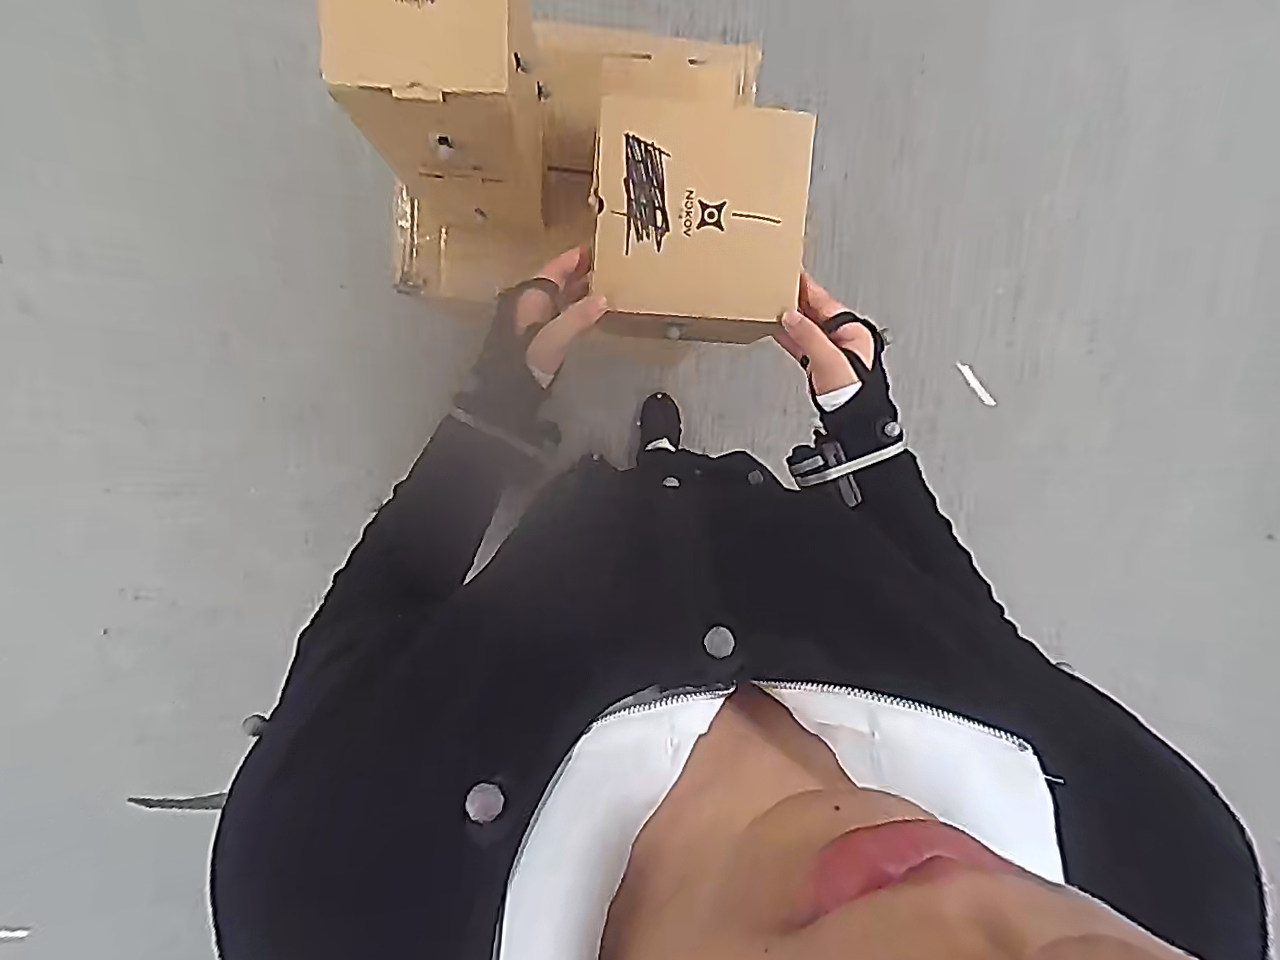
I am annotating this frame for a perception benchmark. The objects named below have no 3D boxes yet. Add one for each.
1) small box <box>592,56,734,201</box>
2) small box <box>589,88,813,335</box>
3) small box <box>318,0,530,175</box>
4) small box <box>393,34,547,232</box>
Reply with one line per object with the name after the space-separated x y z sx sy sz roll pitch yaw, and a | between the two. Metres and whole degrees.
0.025 -0.428 0.741 0.168 0.176 0.179 4 97 -1 | small box
0.045 -0.236 0.519 0.179 0.176 0.168 2 98 -3 | small box
-0.207 -0.442 0.560 0.168 0.176 0.179 0 97 -4 | small box
-0.216 -0.457 0.723 0.168 0.176 0.179 2 96 -4 | small box
